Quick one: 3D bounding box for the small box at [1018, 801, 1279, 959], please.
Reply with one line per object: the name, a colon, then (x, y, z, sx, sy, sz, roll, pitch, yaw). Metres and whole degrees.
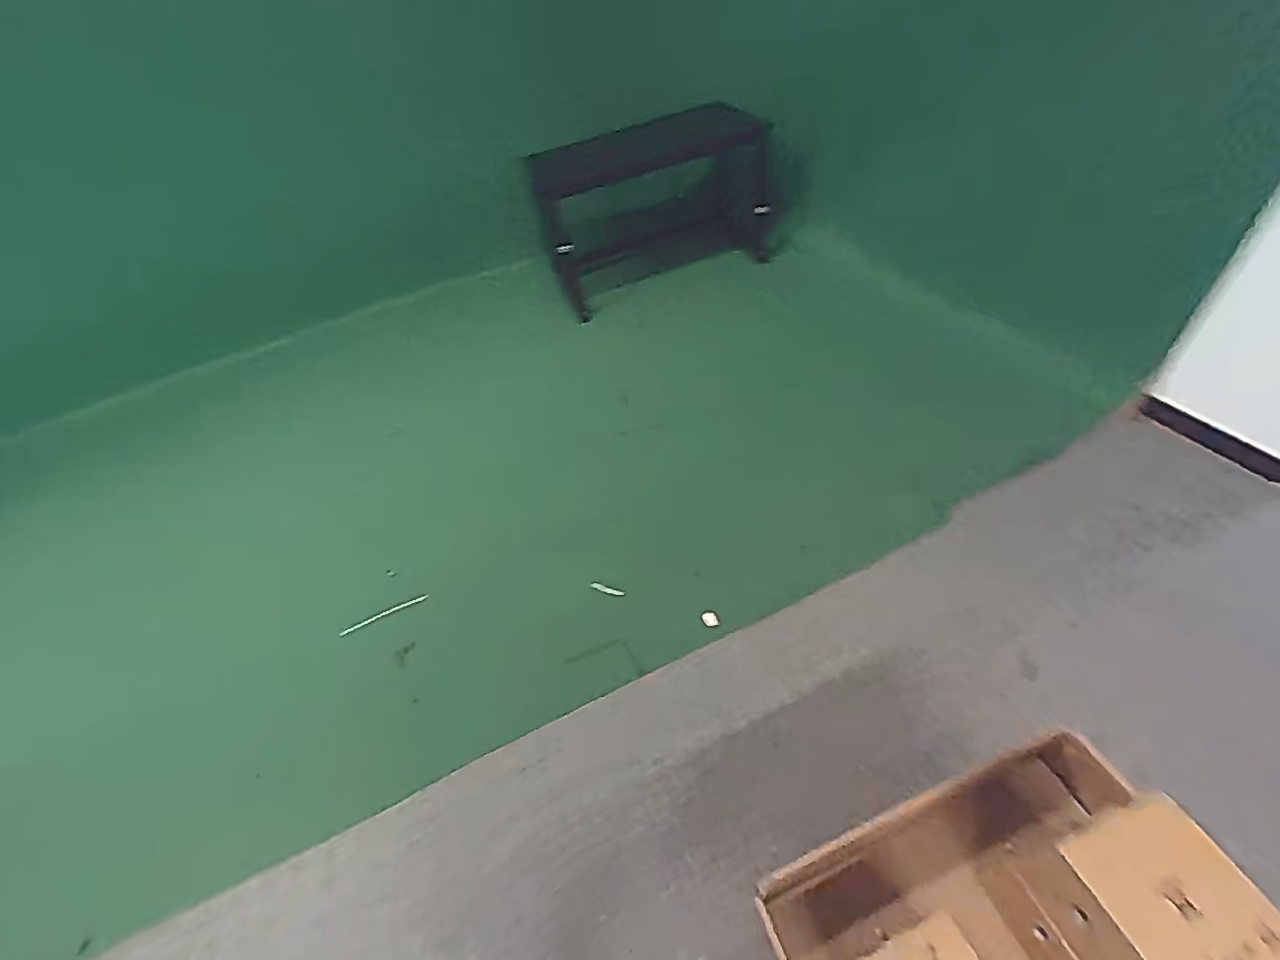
small box: (0.630, 0.547, 0.681, 0.168, 0.176, 0.179, -20, 46, -6)

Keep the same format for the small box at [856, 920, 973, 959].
small box: (0.399, 0.755, 0.749, 0.168, 0.176, 0.179, -21, 47, -10)

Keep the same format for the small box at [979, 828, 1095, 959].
small box: (0.650, 0.657, 0.801, 0.168, 0.176, 0.179, -19, 48, -6)
